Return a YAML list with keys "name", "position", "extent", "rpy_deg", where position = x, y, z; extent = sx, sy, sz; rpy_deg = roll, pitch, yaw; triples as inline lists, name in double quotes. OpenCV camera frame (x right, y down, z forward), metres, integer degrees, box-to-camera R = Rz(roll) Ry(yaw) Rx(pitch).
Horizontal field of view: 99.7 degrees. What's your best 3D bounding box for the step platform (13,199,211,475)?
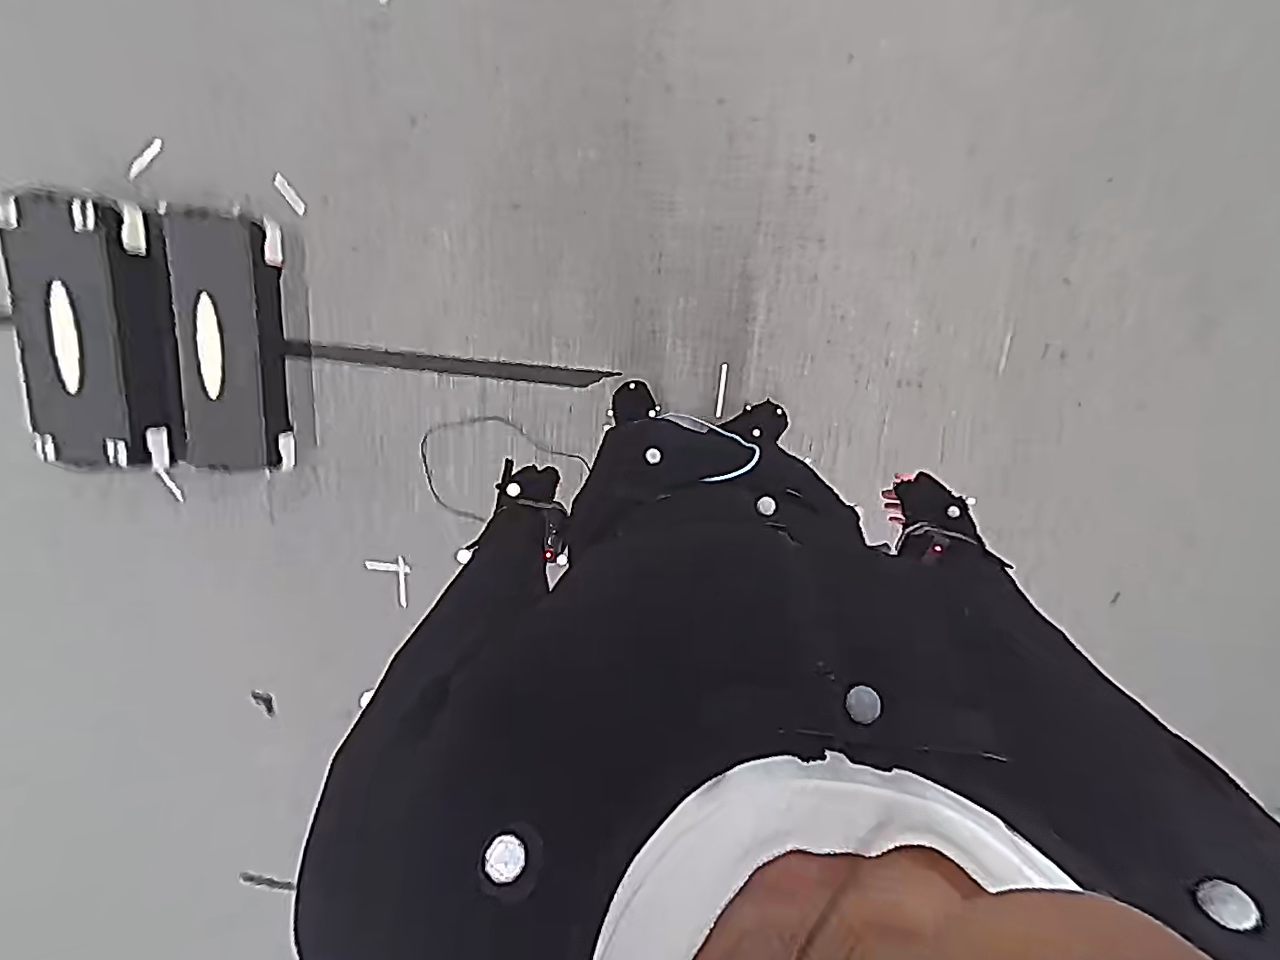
- name: "step platform"
  position: [-1.364, -0.353, 1.417]
  extent: [0.286, 0.204, 0.684]
  rpy_deg: [5, 102, 3]
